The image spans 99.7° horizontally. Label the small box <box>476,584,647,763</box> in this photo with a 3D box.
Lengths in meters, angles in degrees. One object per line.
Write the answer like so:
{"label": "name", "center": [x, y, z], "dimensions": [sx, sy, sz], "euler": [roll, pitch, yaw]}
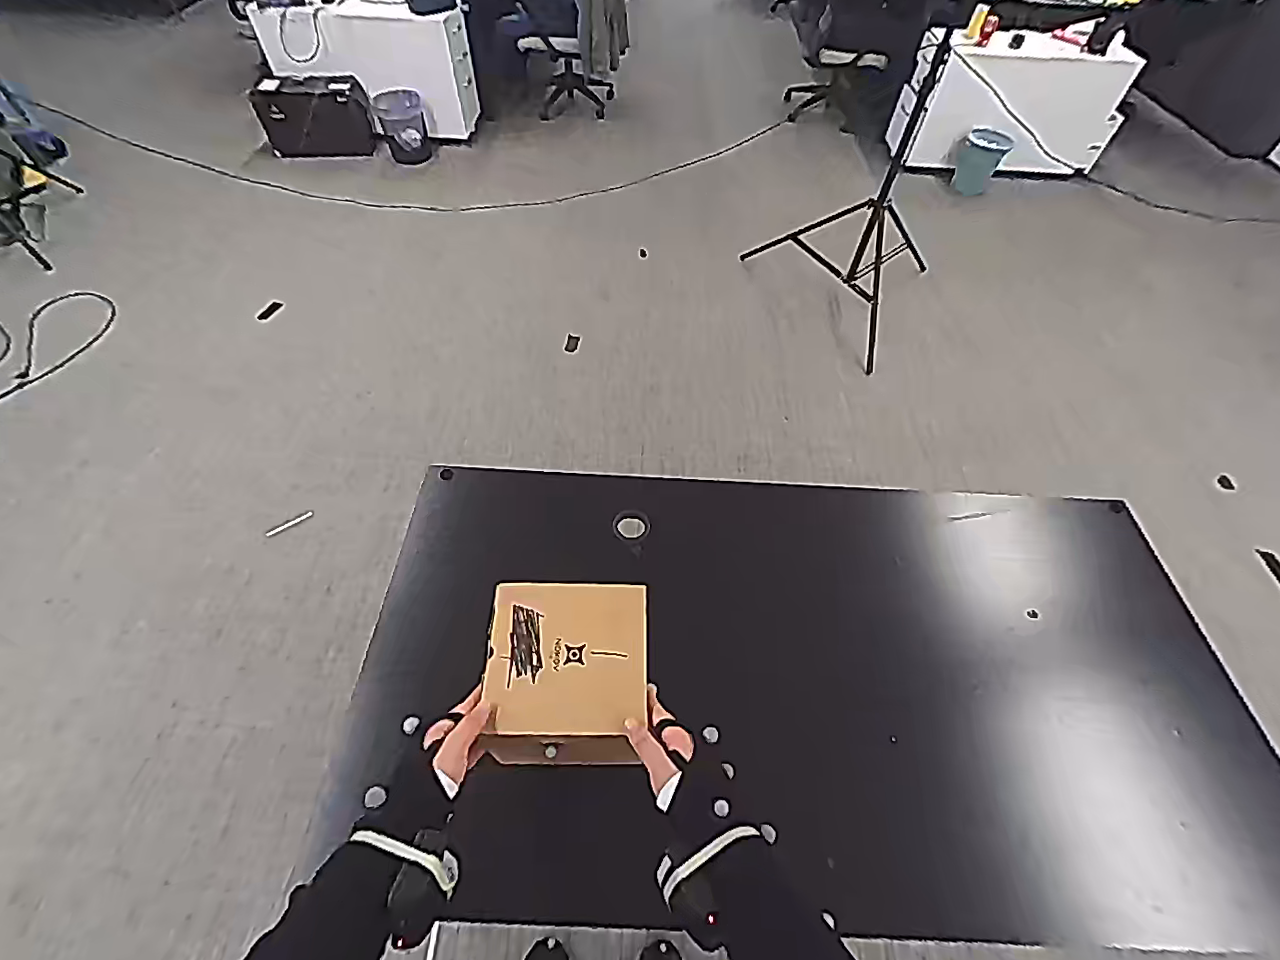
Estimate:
{"label": "small box", "center": [-0.082, 0.238, 0.653], "dimensions": [0.179, 0.176, 0.168], "euler": [1, 53, -2]}
